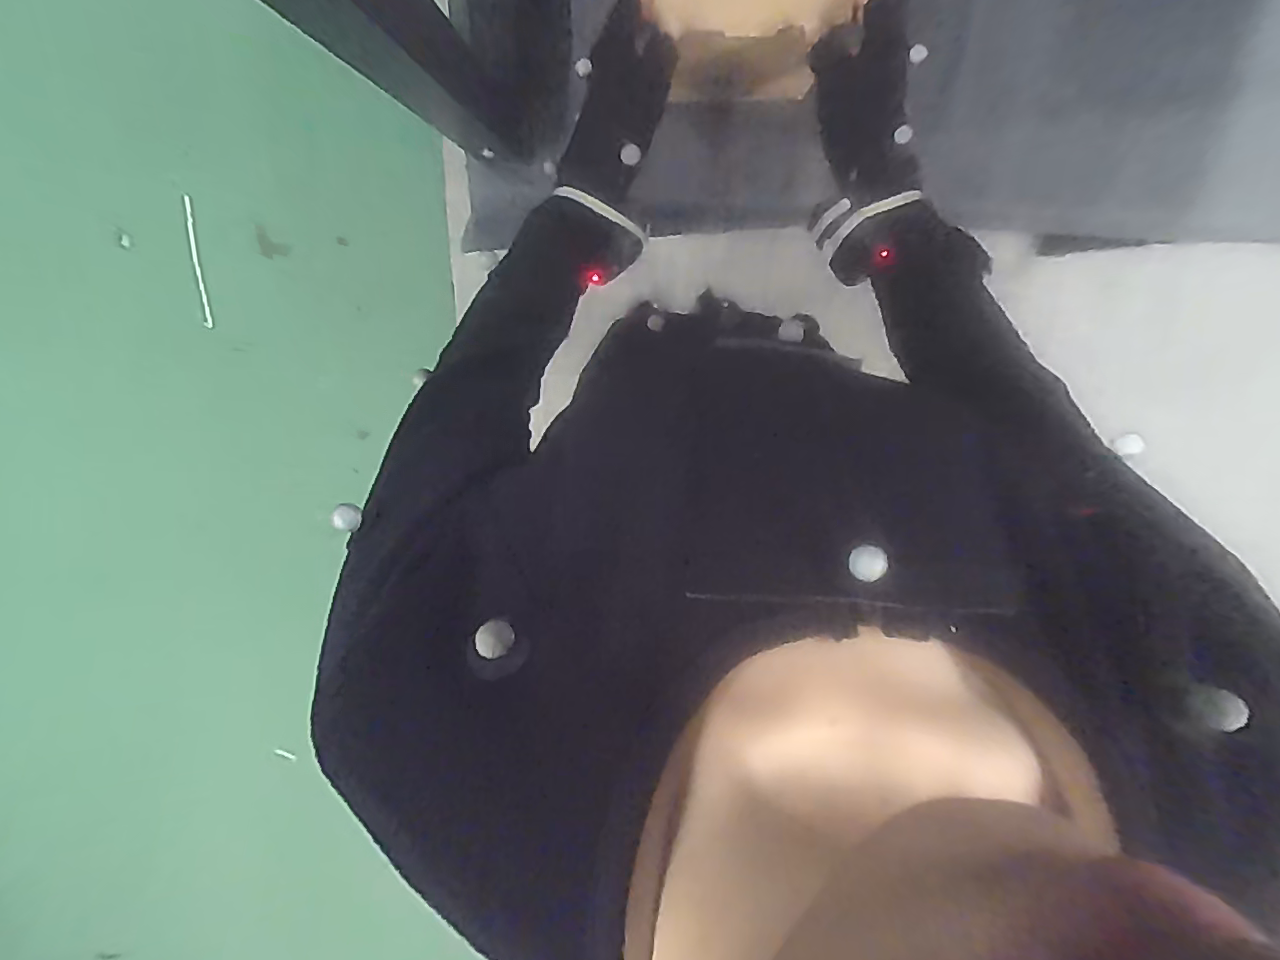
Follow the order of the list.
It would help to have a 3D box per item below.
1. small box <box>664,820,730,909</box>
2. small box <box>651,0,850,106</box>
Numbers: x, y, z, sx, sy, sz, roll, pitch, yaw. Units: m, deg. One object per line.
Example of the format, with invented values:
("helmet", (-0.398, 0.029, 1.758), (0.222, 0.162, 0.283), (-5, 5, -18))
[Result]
("small box", (0.190, 1.304, 1.843), (0.179, 0.176, 0.168), (17, 107, -2))
("small box", (0.094, -0.479, 0.502), (0.168, 0.176, 0.179), (0, 108, 3))
